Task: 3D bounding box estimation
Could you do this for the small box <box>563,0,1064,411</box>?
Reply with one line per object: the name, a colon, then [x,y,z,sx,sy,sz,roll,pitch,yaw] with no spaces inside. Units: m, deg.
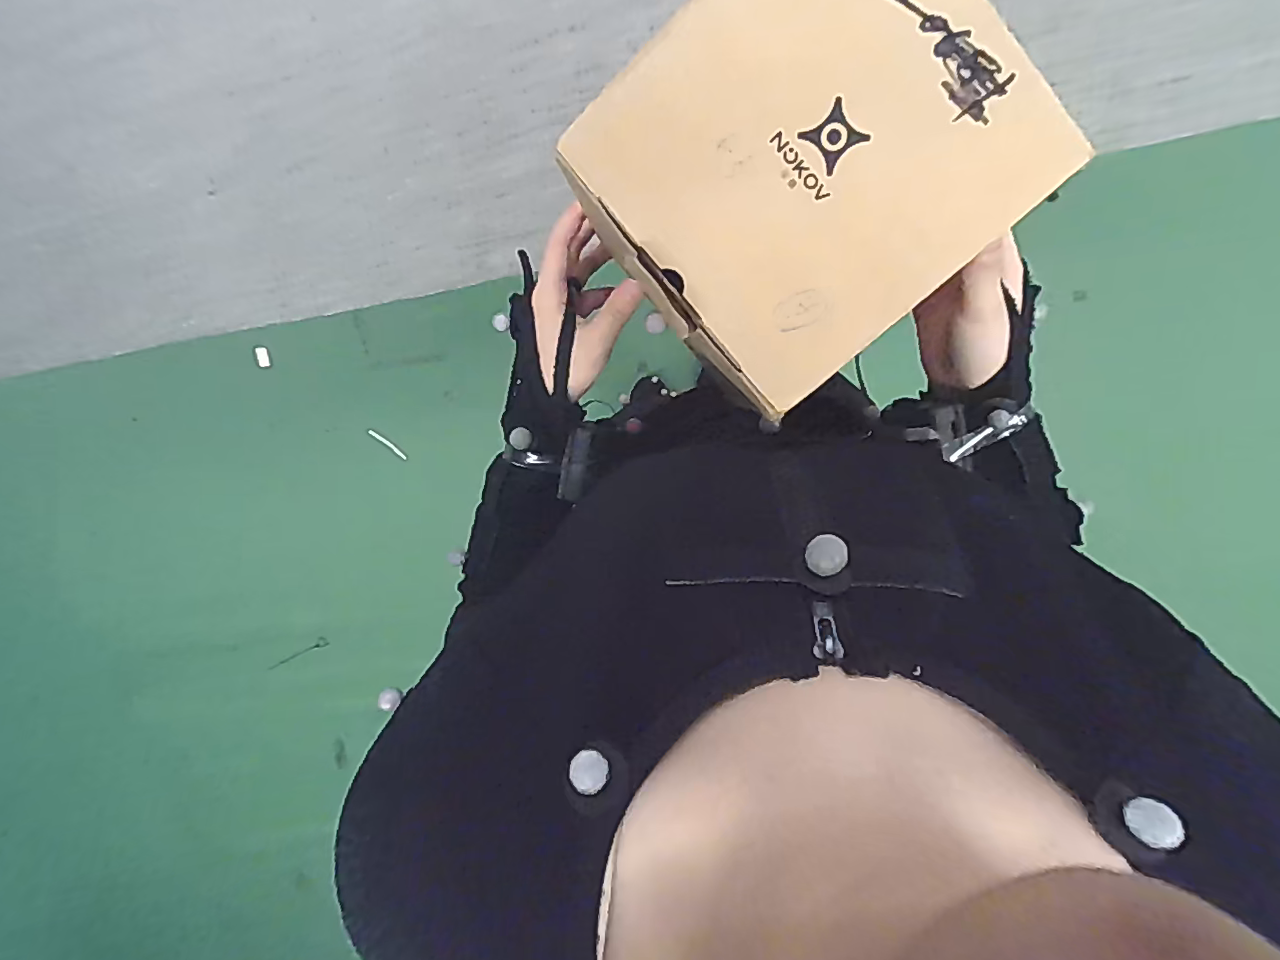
small box: [0.084,-0.162,0.332,0.179,0.176,0.168,-41,96,10]
